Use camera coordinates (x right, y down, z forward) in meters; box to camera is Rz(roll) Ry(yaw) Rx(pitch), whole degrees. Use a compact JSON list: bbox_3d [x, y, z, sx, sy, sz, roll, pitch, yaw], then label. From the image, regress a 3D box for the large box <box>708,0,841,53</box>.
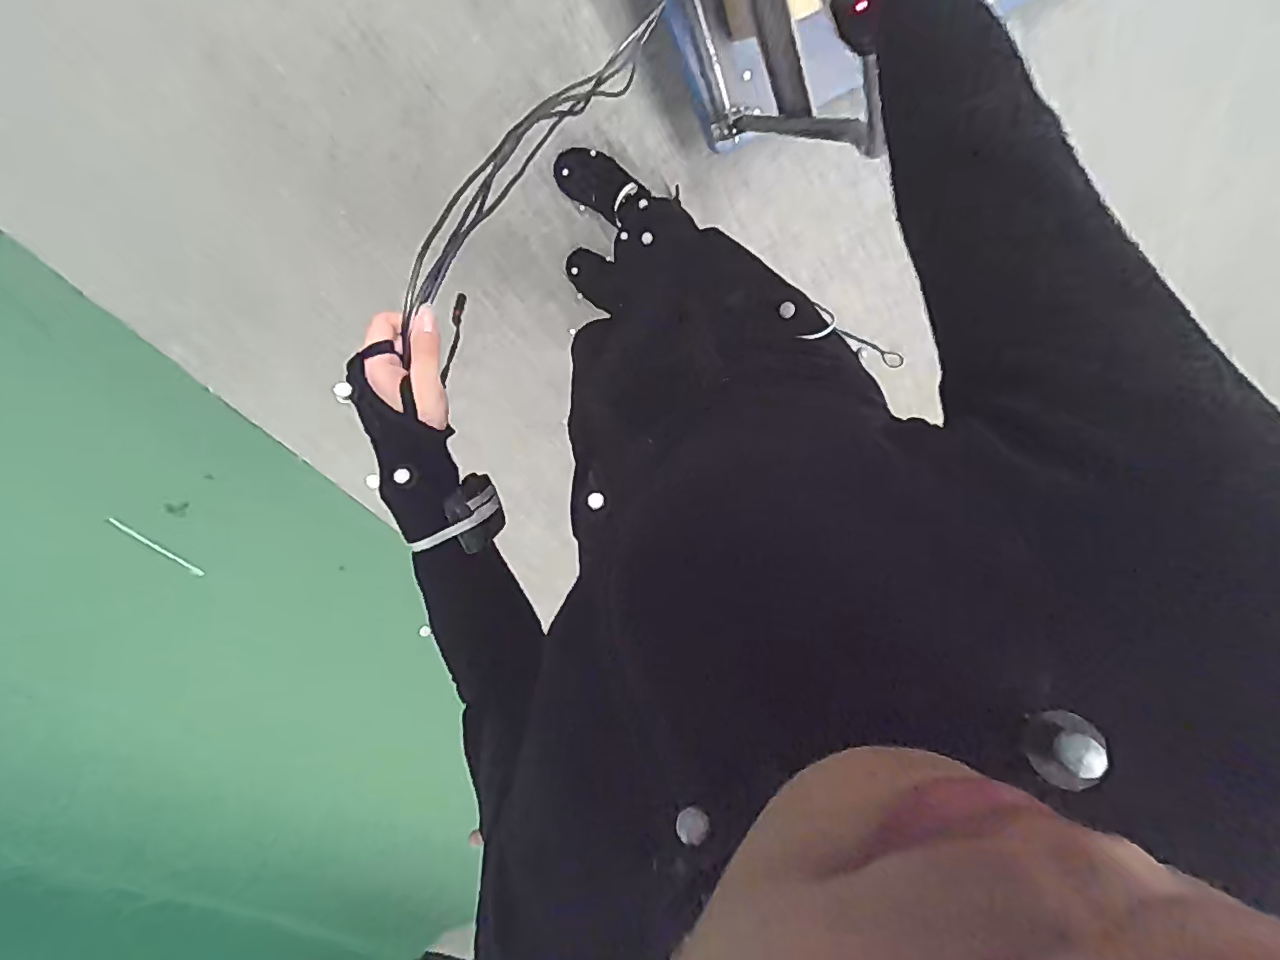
[{"bbox_3d":[0.290,-0.929,0.811,0.408,0.320,0.320,-23,124,9],"label":"large box"}]
